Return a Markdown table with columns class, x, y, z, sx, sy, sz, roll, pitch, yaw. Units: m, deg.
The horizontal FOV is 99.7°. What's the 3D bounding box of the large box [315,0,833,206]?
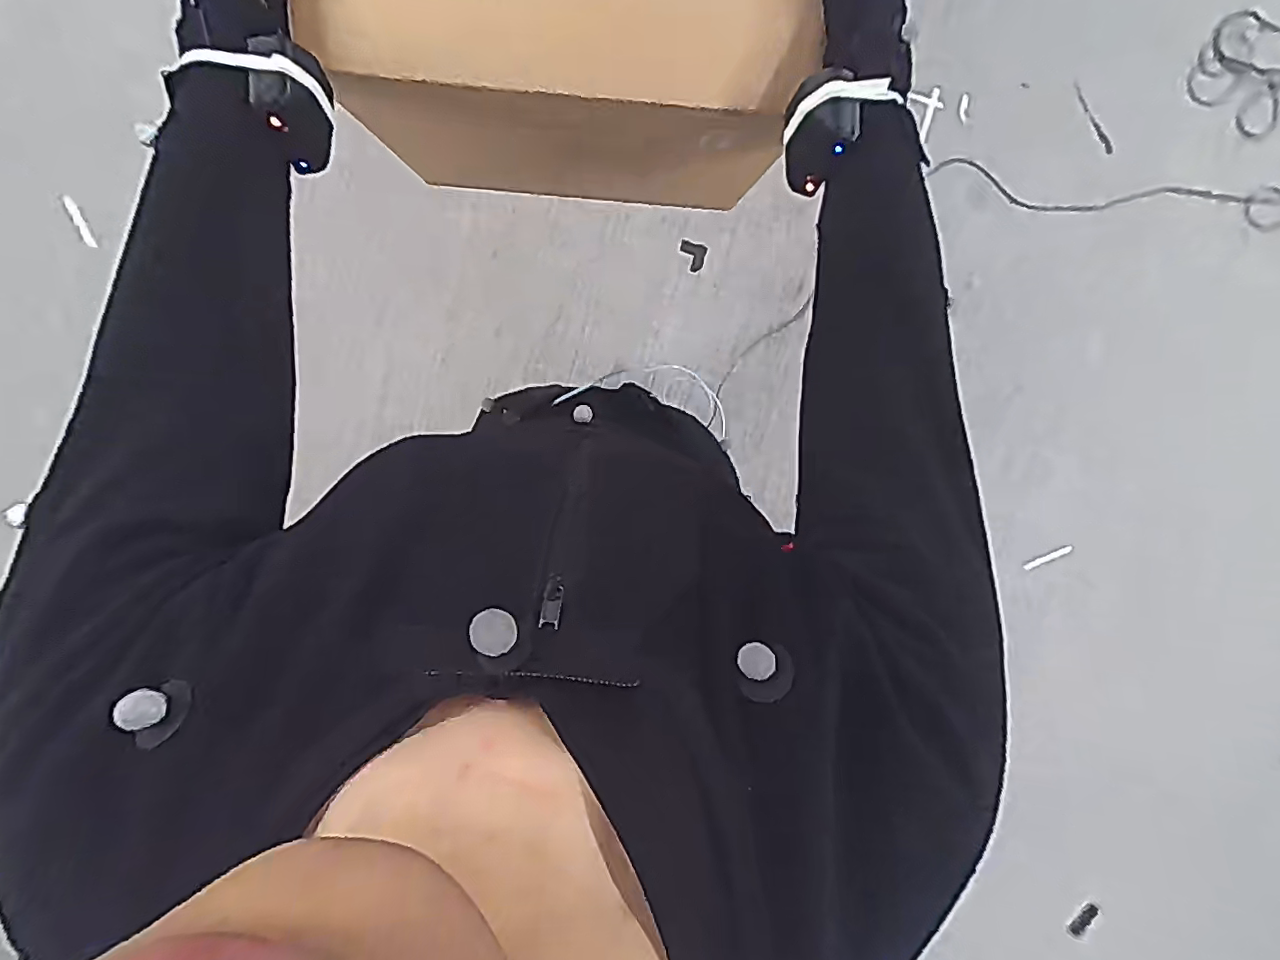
| class | x | y | z | sx | sy | sz | roll | pitch | yaw |
| --- | --- | --- | --- | --- | --- | --- | --- | --- | --- |
| large box | -0.051 | -0.491 | 0.539 | 0.408 | 0.320 | 0.320 | 3 | 104 | -5 |
